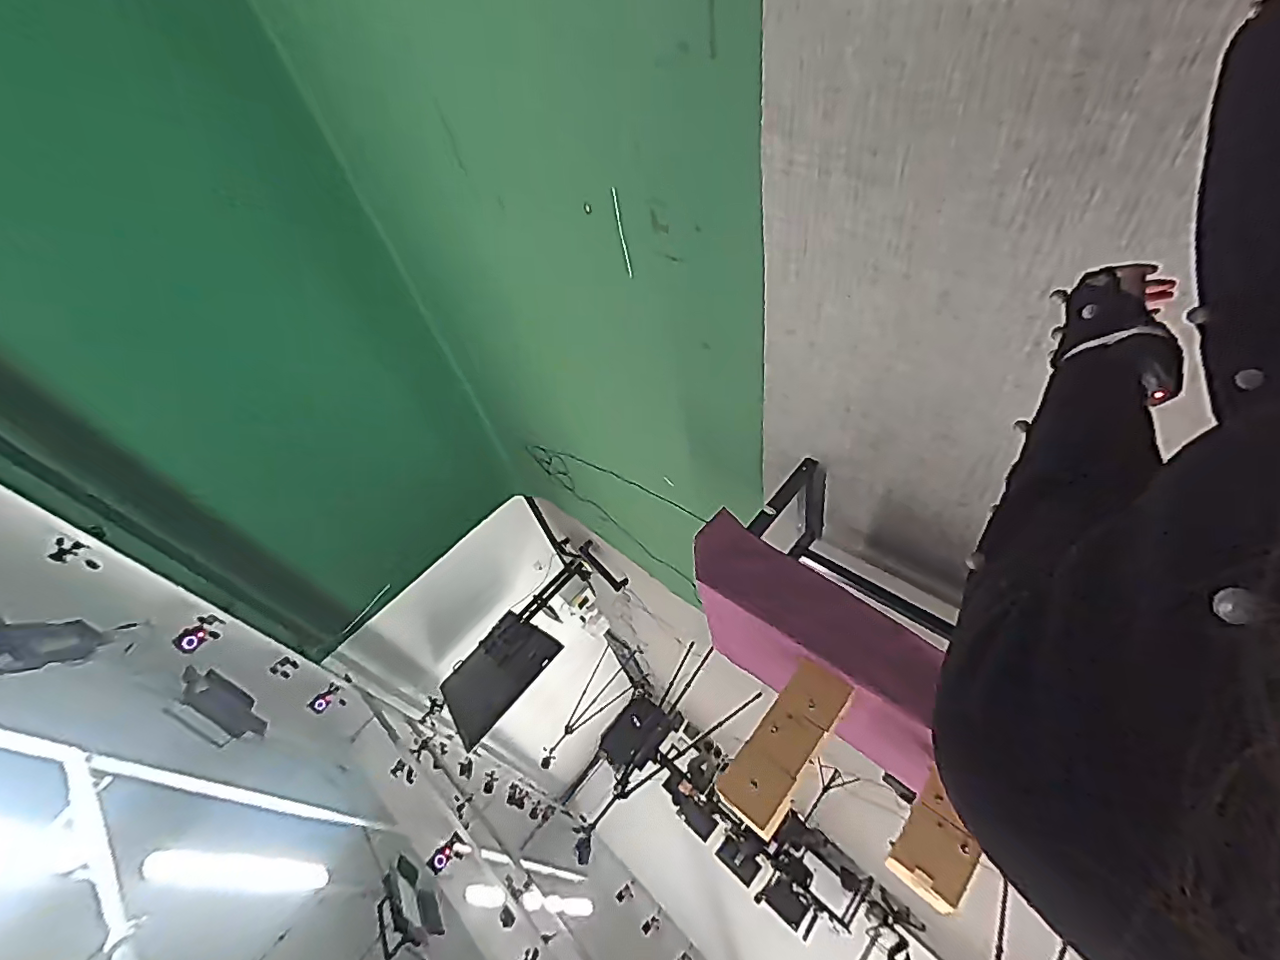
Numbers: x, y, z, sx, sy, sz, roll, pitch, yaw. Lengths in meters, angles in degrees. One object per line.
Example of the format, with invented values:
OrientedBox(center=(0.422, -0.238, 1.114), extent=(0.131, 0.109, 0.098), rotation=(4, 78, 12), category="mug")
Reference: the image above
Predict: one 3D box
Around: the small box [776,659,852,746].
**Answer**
OrientedBox(center=(0.559, 0.712, 1.741), extent=(0.179, 0.176, 0.168), rotation=(30, 153, 32), category="small box")

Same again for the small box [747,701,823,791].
OrientedBox(center=(0.453, 0.822, 1.684), extent=(0.168, 0.176, 0.179), rotation=(30, 154, 34), category="small box")

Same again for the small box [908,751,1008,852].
OrientedBox(center=(0.881, 0.895, 1.501), extent=(0.179, 0.176, 0.168), rotation=(30, 154, 34), category="small box")

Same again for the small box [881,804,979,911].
OrientedBox(center=(0.772, 1.002, 1.442), extent=(0.168, 0.176, 0.179), rotation=(30, 155, 34), category="small box")
